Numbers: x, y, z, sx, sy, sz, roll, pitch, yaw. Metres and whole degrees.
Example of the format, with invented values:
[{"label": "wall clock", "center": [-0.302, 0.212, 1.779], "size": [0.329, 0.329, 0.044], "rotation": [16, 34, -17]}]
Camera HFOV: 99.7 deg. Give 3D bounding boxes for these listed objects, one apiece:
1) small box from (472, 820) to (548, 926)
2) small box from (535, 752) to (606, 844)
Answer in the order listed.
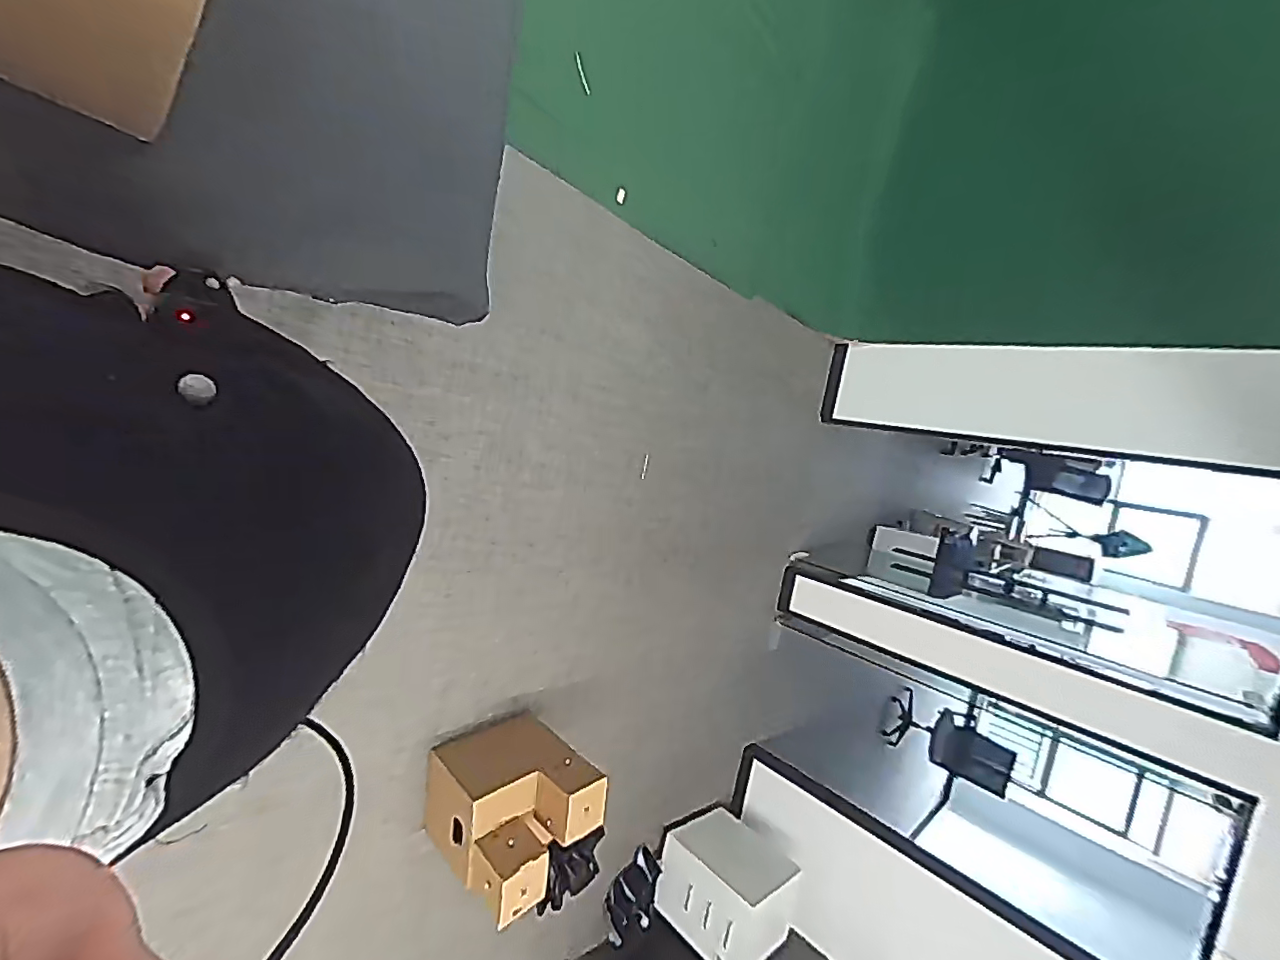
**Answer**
[{"label": "small box", "center": [-0.404, 1.195, 1.667], "size": [0.168, 0.176, 0.179], "rotation": [-5, 105, -45]}, {"label": "small box", "center": [-0.235, 1.052, 1.803], "size": [0.168, 0.176, 0.179], "rotation": [-1, 97, -47]}]
